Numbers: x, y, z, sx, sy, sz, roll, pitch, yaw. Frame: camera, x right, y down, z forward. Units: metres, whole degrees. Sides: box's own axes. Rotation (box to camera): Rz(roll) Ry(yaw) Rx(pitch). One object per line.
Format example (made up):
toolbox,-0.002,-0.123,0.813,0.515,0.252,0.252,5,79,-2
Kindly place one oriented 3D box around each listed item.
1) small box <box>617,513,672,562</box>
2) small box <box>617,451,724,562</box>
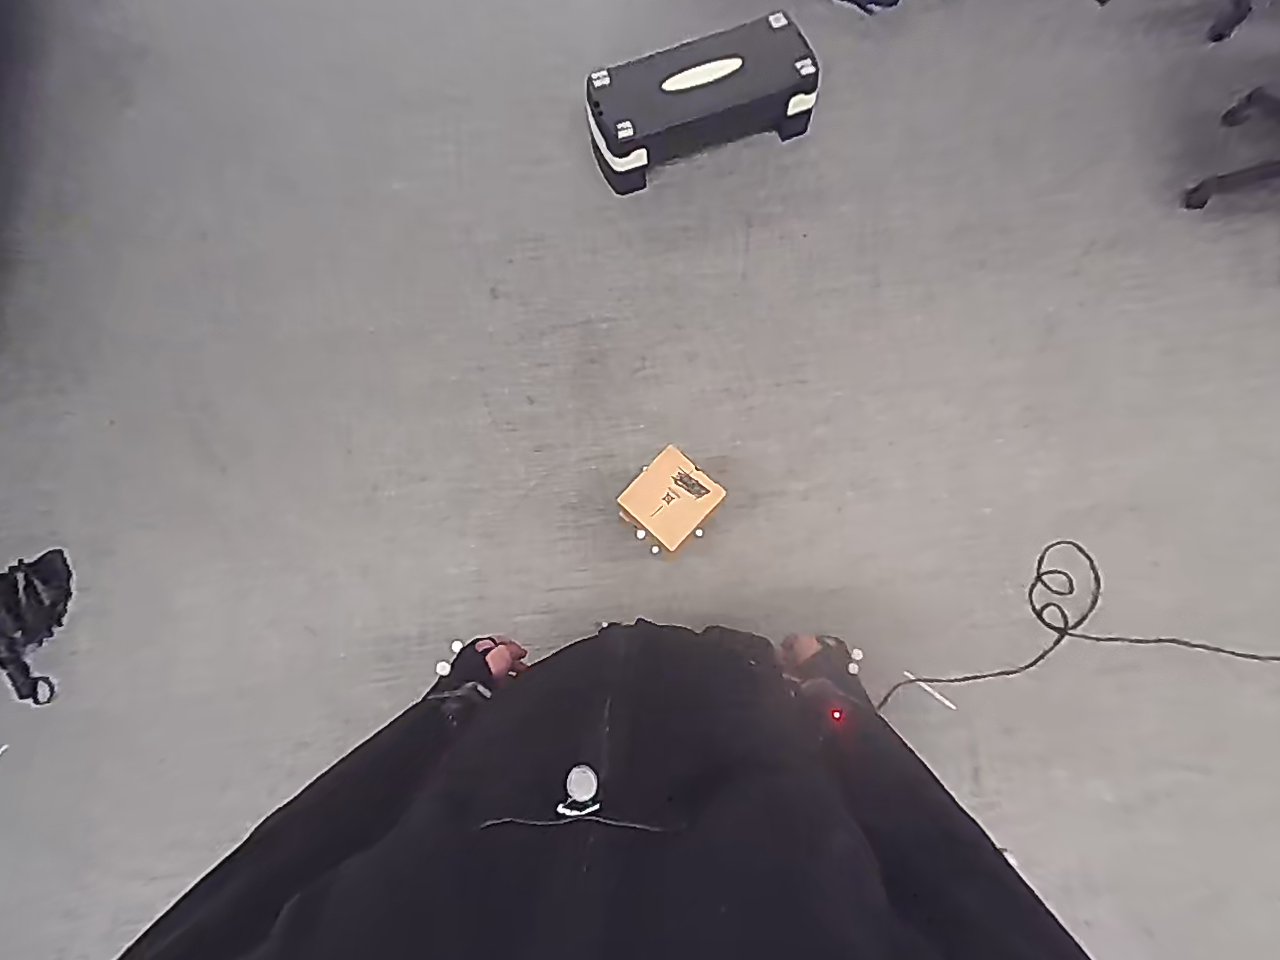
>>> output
small box,0.062,0.096,1.397,0.168,0.176,0.179,35,79,10
small box,0.068,0.067,1.235,0.168,0.176,0.179,42,82,12
